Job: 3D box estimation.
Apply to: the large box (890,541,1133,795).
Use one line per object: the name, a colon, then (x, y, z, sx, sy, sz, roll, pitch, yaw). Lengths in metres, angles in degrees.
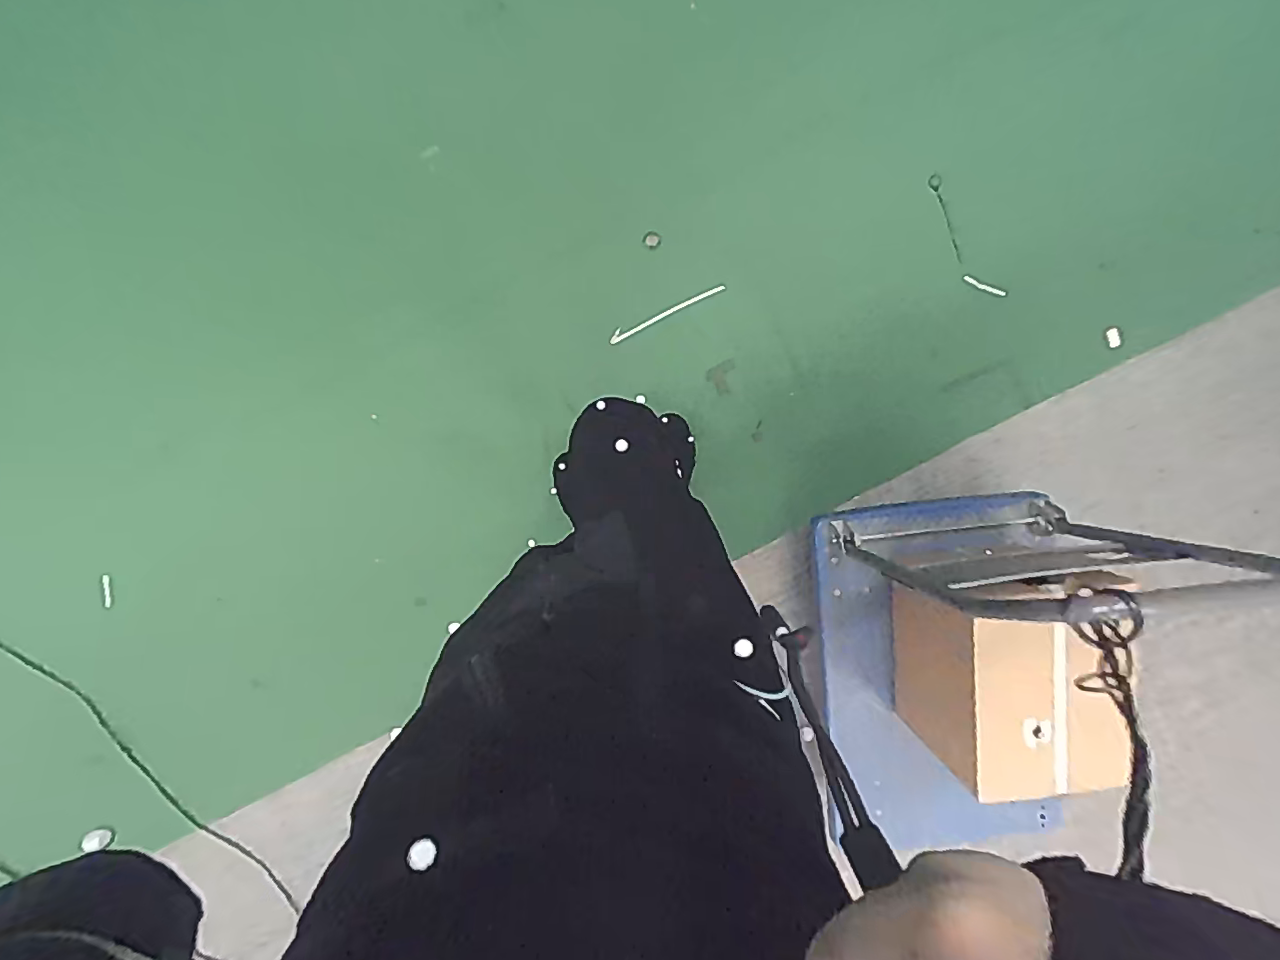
large box: (0.765, 0.371, 1.156, 0.320, 0.320, 0.408, -5, 97, -1)
